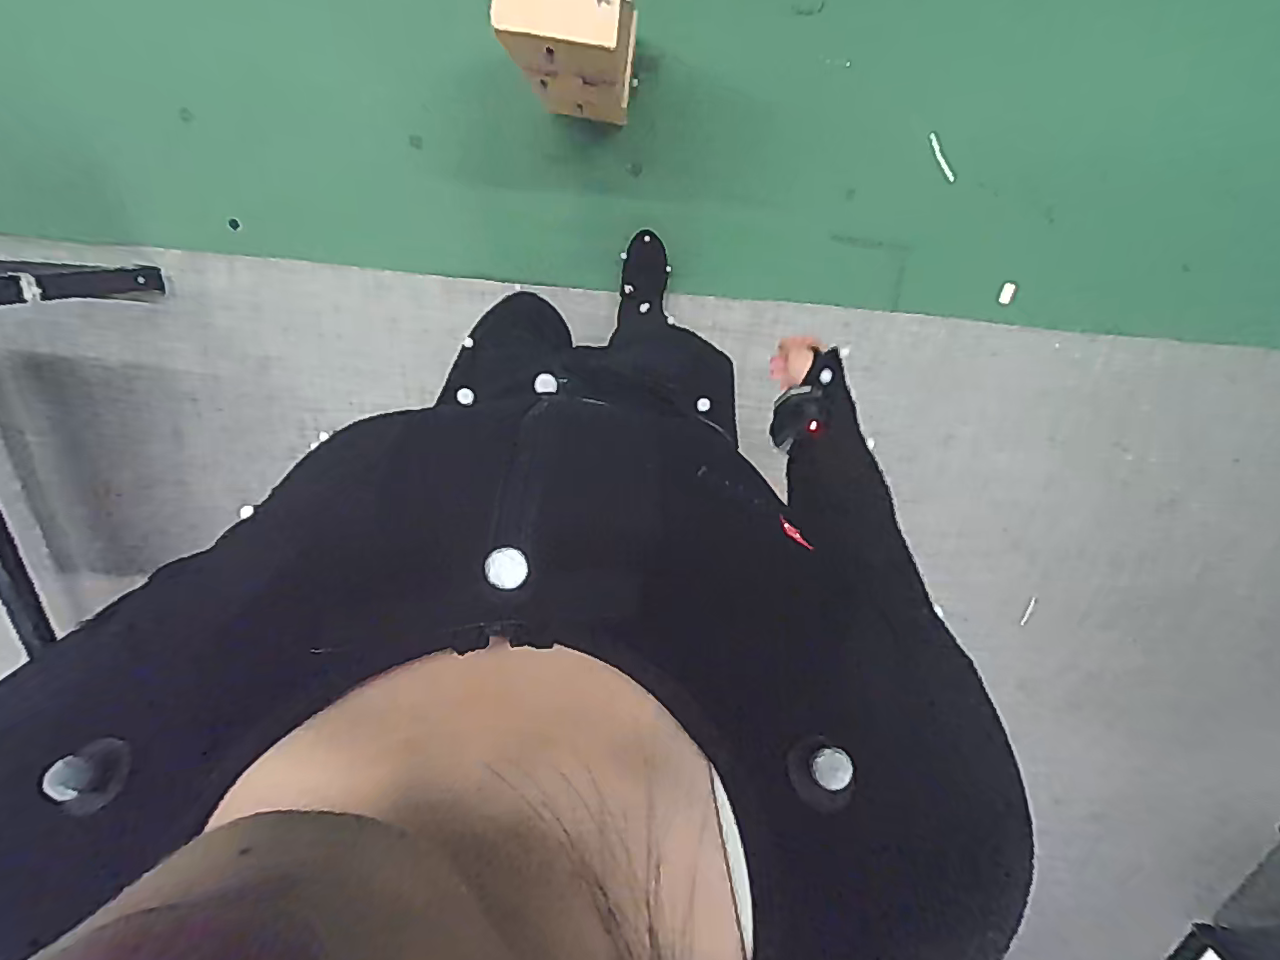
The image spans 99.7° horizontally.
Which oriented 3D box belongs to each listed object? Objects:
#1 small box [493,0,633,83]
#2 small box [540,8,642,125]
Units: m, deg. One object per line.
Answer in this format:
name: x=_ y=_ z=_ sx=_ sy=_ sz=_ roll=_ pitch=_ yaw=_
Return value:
small box: x=-0.103 y=-0.705 z=0.785 sx=0.179 sy=0.176 sz=0.168 roll=7 pitch=113 yaw=-3
small box: x=-0.095 y=-0.834 z=1.087 sx=0.179 sy=0.176 sz=0.168 roll=8 pitch=114 yaw=-4
